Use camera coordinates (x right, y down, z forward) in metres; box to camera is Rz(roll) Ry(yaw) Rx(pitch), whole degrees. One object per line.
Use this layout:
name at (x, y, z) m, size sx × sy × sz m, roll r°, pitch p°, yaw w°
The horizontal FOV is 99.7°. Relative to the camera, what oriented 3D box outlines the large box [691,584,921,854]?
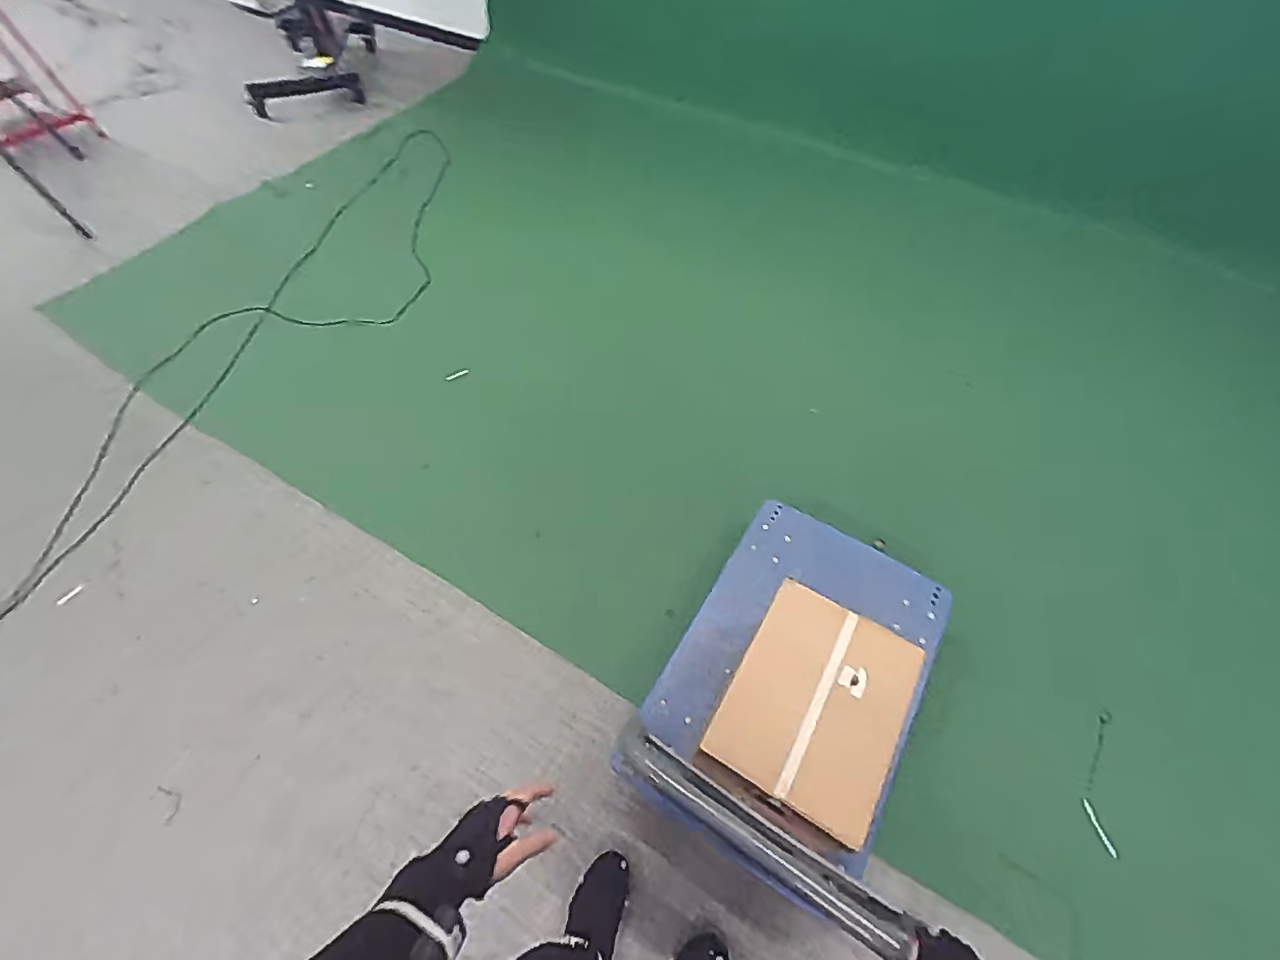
large box at (0.343, 0.516, 1.173) m, size 0.320 × 0.320 × 0.408 m, roll 29°, pitch 60°, yaw 16°
